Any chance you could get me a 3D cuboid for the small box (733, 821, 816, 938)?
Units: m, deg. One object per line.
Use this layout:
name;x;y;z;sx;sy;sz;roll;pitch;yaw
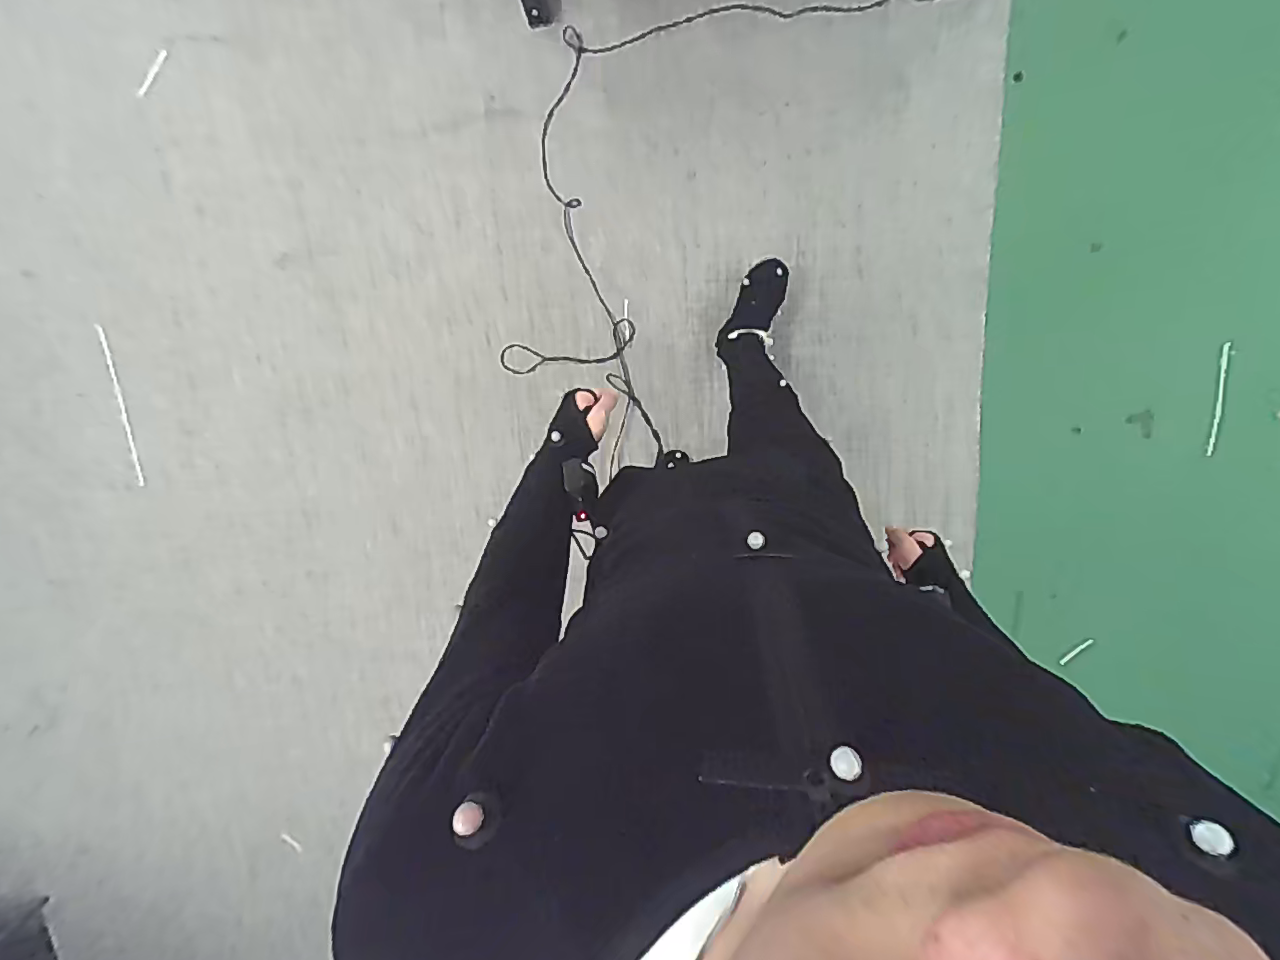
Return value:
small box;0.323;0.972;1.328;0.168;0.176;0.179;-1;102;2
